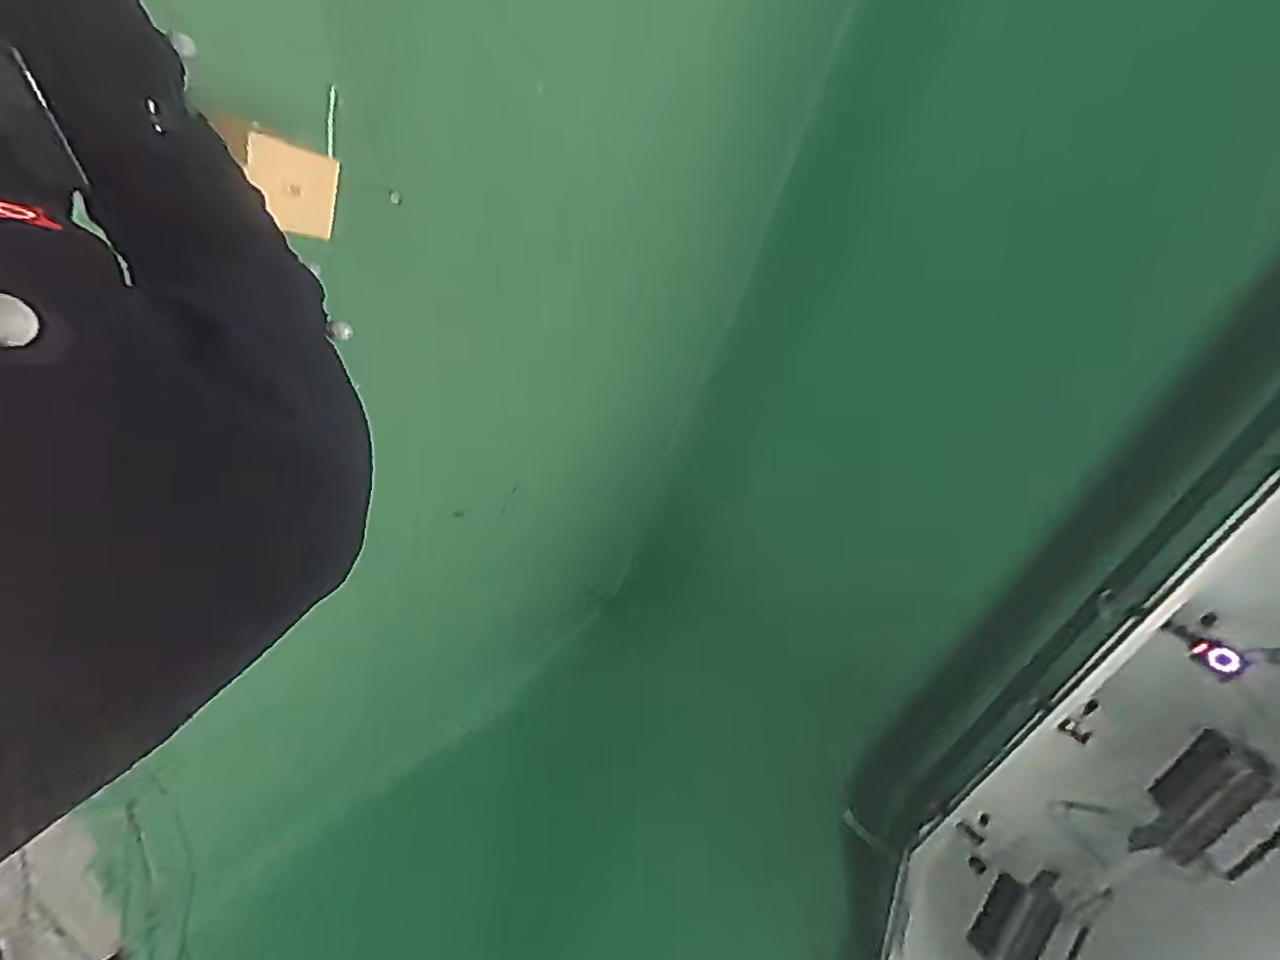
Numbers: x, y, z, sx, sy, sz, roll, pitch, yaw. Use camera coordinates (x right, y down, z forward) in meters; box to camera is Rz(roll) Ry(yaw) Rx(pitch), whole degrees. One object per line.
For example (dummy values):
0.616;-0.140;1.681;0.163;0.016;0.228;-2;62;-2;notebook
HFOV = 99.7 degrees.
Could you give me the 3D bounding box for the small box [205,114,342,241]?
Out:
-0.765;-0.627;1.125;0.179;0.176;0.168;-15;135;-58;small box
